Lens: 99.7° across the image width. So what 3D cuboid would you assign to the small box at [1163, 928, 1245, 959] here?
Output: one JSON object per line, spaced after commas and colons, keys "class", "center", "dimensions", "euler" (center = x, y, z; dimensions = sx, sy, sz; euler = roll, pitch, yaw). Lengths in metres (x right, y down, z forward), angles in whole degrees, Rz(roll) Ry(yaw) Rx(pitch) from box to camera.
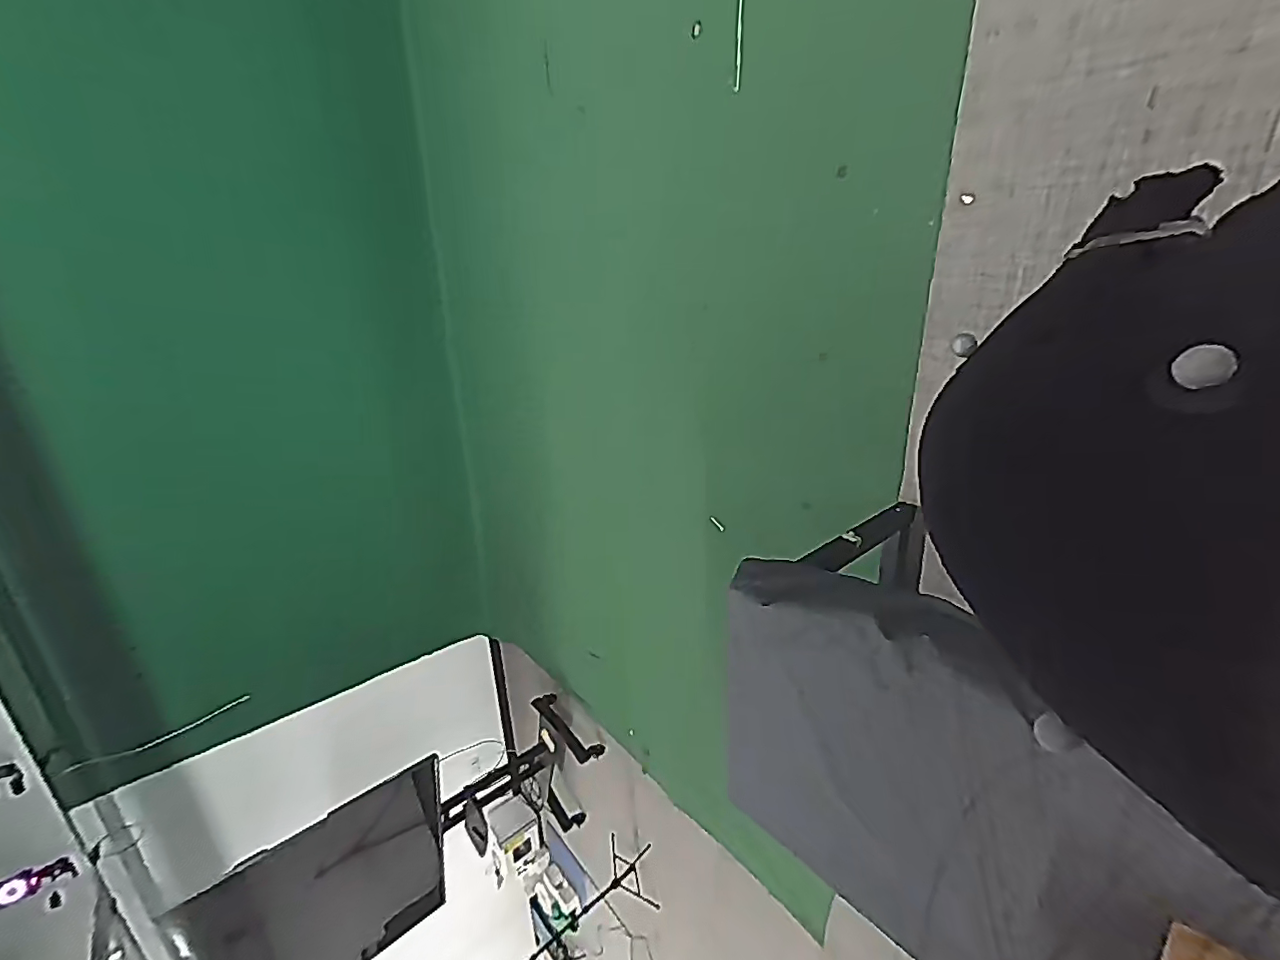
{"class": "small box", "center": [0.662, 0.656, 0.585], "dimensions": [0.168, 0.176, 0.179], "euler": [16, 118, 48]}
